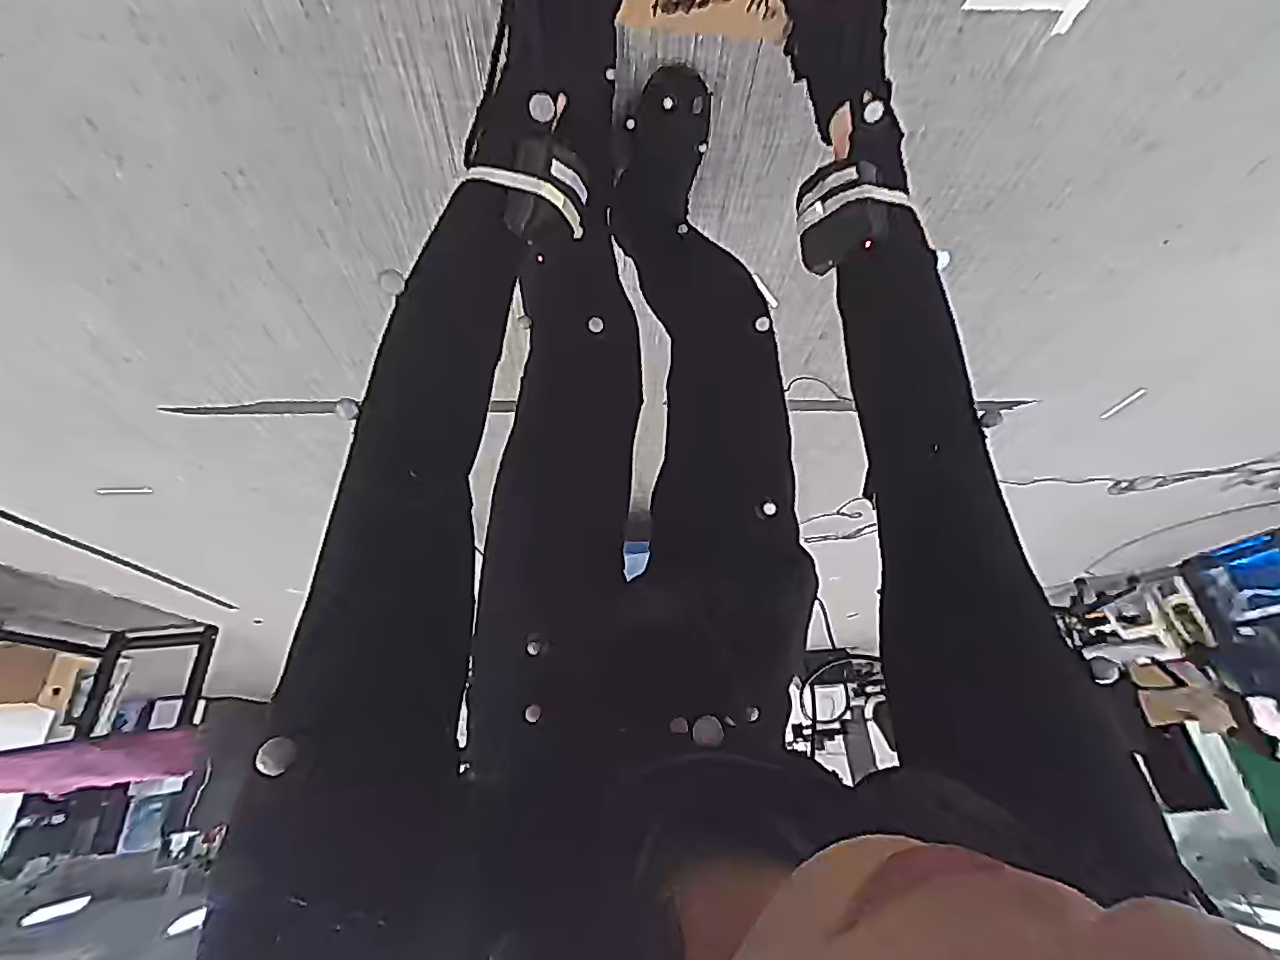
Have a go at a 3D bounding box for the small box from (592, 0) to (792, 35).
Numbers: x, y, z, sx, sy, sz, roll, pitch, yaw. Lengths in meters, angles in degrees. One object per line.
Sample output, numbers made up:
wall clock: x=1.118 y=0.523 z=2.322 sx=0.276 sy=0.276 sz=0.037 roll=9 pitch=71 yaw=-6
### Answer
small box: x=0.048 y=-0.490 z=0.406 sx=0.168 sy=0.176 sz=0.179 roll=1 pitch=158 yaw=-6
